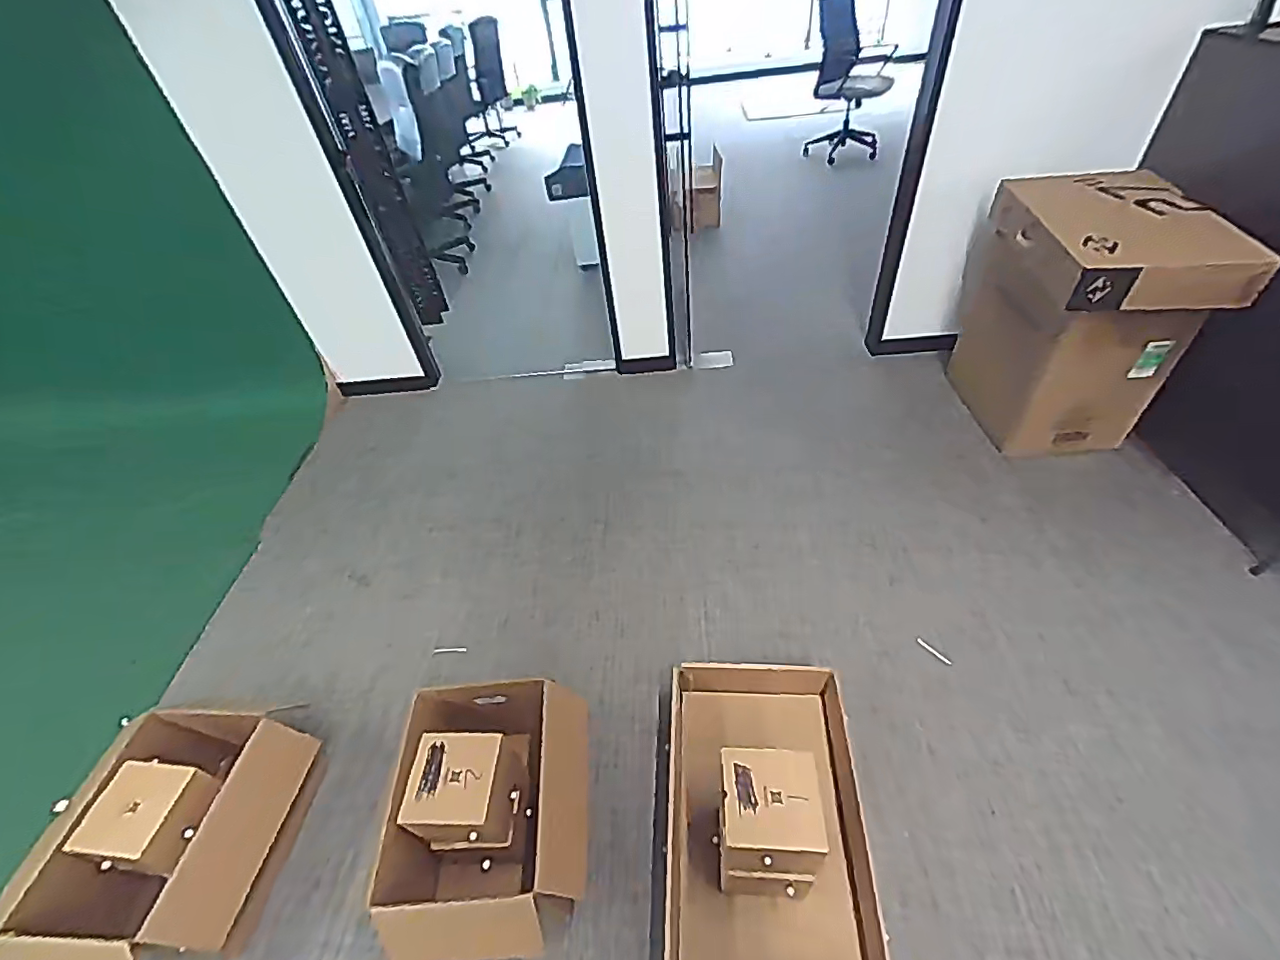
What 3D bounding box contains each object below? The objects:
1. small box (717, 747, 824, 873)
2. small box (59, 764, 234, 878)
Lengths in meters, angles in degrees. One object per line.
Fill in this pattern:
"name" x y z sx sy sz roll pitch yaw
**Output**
"small box" 0.237 0.631 1.032 0.179 0.176 0.168 0 43 5
"small box" -1.024 0.723 1.143 0.179 0.176 0.168 1 44 7
